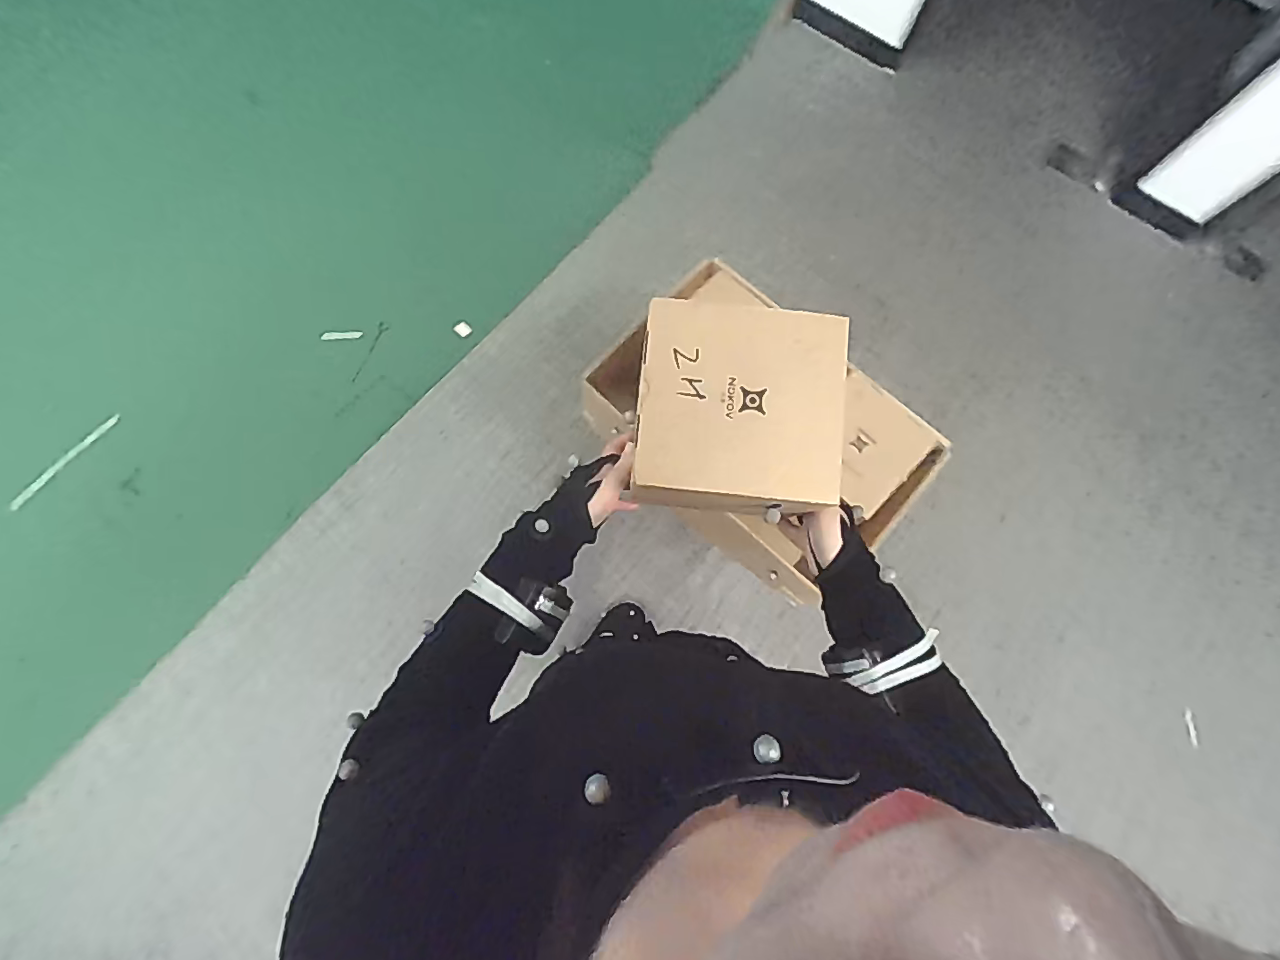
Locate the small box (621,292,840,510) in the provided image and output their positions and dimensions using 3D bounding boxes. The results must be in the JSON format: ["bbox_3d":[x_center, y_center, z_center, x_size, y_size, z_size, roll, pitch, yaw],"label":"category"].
[{"bbox_3d":[0.078,-0.063,0.533,0.179,0.176,0.168,5,82,1],"label":"small box"}]

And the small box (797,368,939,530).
[{"bbox_3d":[0.330,-0.042,0.880,0.179,0.176,0.168,-43,79,-10],"label":"small box"}]
